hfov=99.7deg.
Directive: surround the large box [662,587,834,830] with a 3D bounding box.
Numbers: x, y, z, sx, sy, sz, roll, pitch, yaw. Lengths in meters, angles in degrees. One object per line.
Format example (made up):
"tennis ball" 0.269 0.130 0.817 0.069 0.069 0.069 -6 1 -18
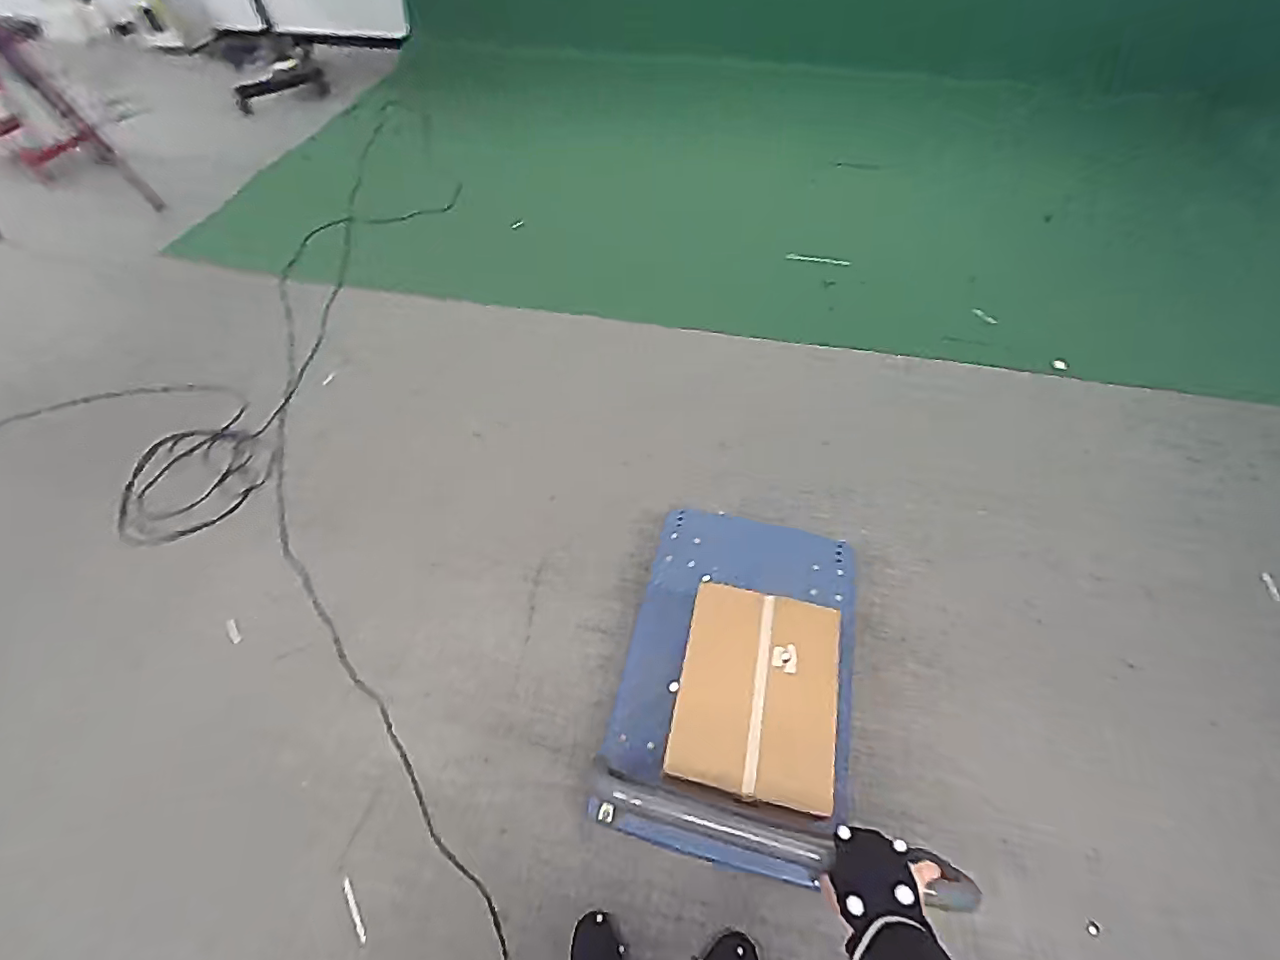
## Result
"large box" 0.236 0.514 1.217 0.320 0.320 0.408 11 55 8
